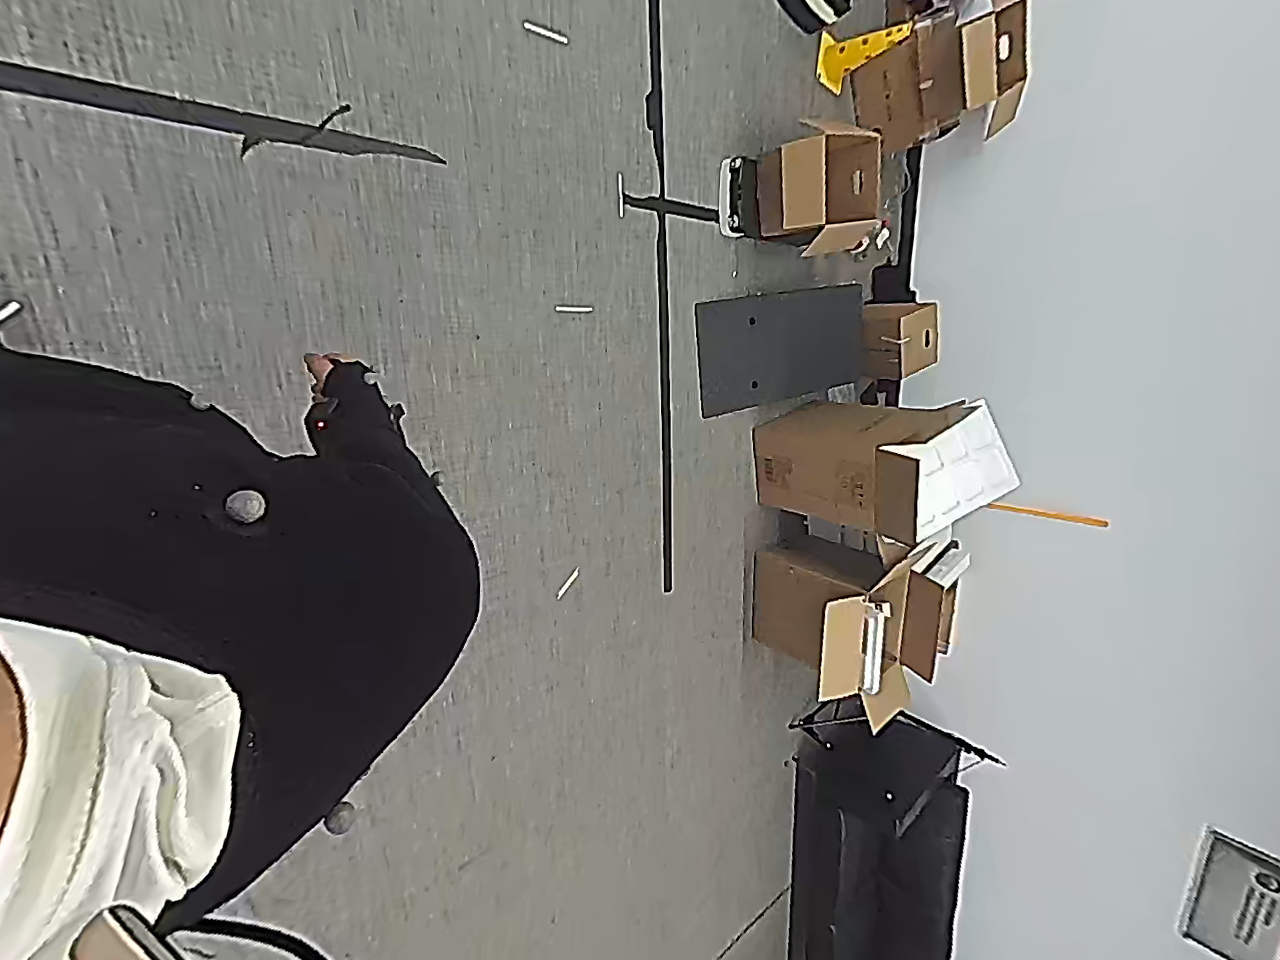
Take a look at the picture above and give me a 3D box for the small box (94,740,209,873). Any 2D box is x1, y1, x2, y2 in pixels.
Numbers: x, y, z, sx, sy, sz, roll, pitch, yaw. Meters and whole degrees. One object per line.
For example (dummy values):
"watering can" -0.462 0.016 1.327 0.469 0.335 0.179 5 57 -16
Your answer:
"small box" -1.152 0.763 1.284 0.179 0.176 0.168 -12 109 -40

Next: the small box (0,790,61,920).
"small box" -1.354 0.794 1.116 0.179 0.176 0.168 -11 108 -37
